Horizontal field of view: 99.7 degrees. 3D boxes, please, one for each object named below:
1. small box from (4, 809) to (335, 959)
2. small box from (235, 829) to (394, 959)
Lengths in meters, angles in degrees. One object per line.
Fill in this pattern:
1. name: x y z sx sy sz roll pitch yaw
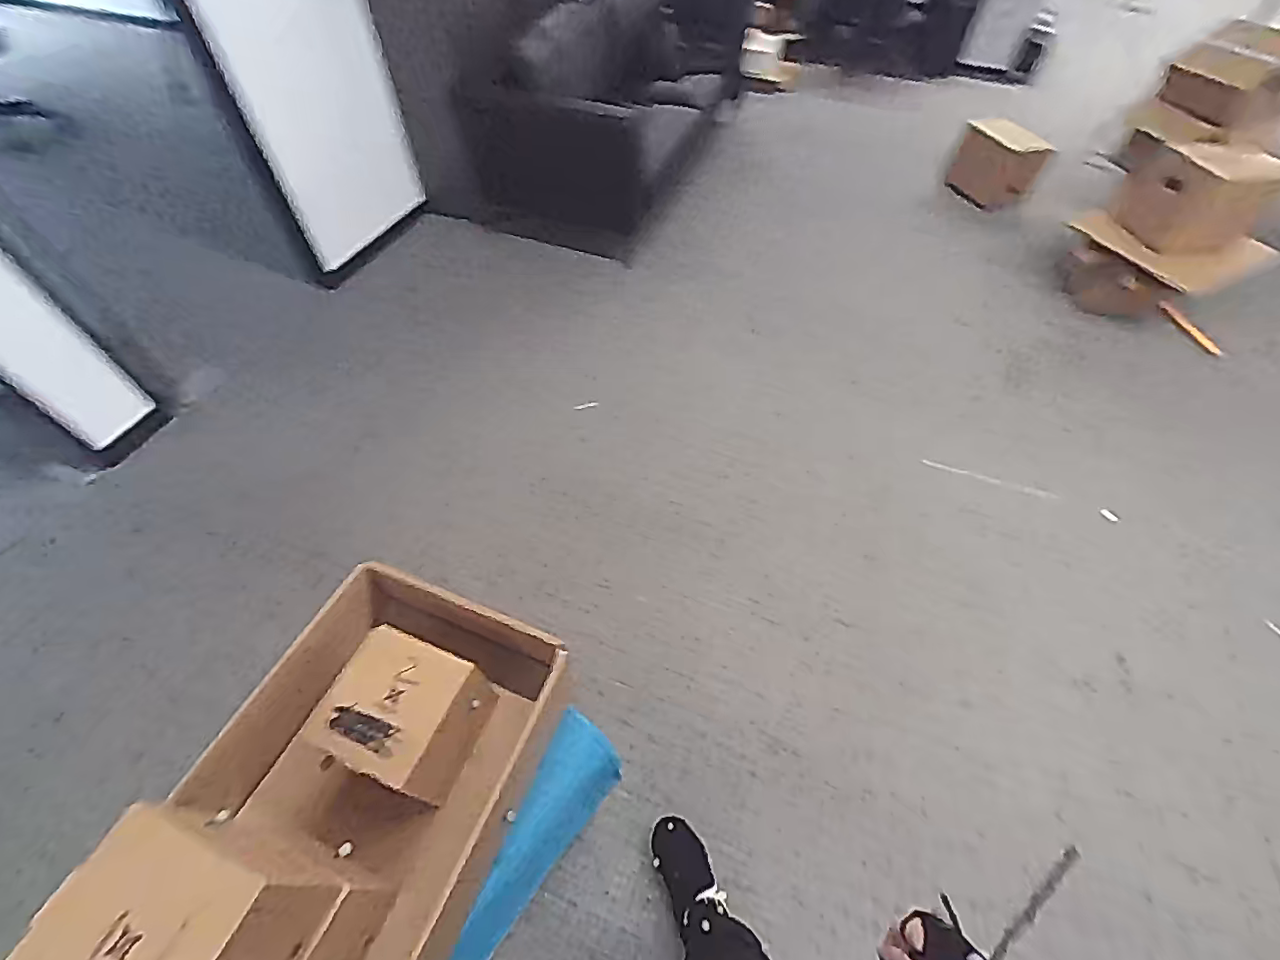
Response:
1. small box: -0.453 0.460 0.531 0.179 0.176 0.168 17 54 14
2. small box: -0.444 0.562 0.658 0.179 0.176 0.168 17 54 15
